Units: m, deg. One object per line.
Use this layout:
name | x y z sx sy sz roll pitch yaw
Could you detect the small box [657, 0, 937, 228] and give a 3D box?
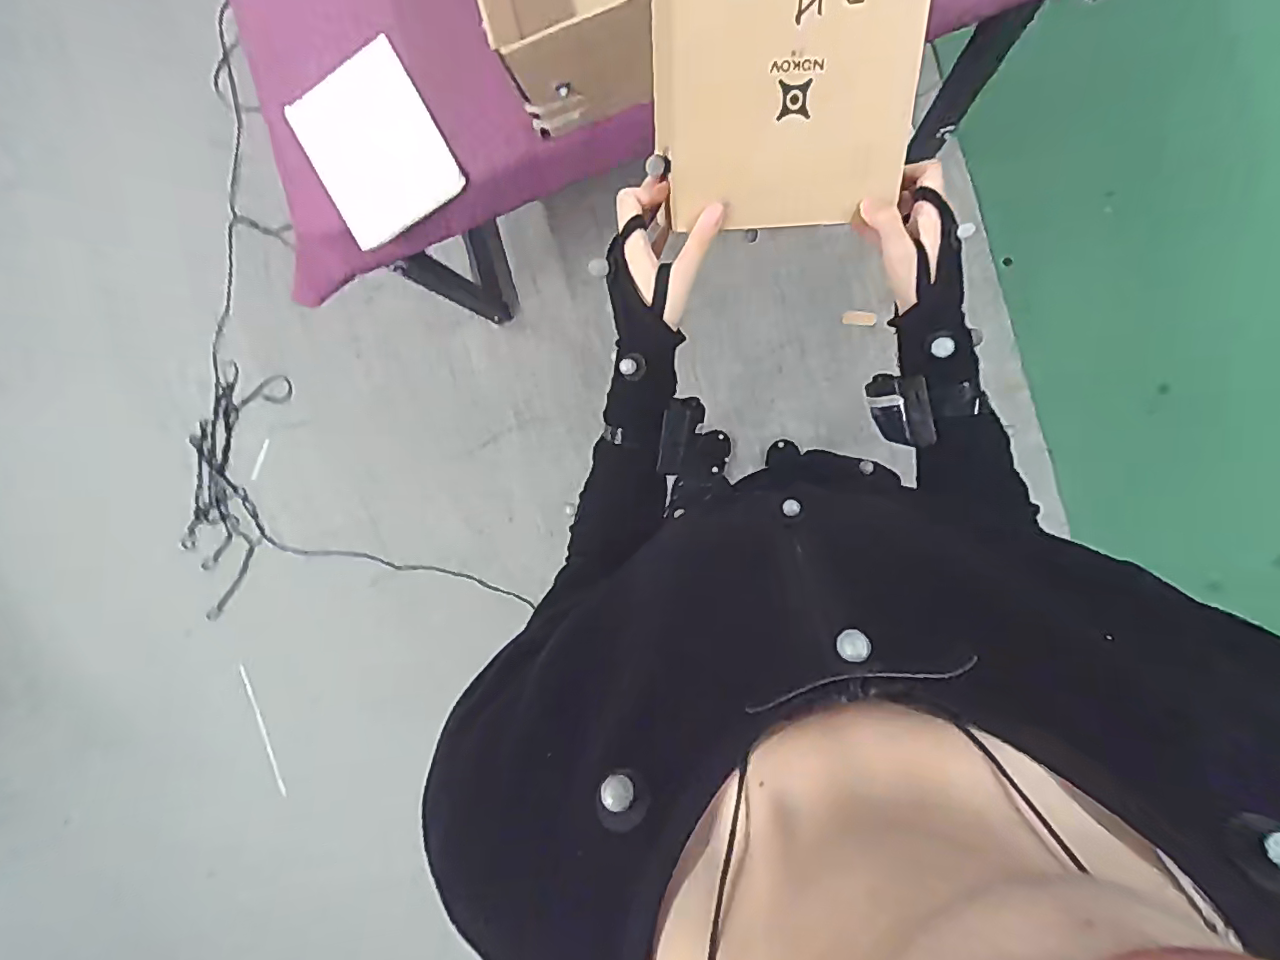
small box | 0.102 -0.302 0.427 0.168 0.176 0.179 -3 117 -2
